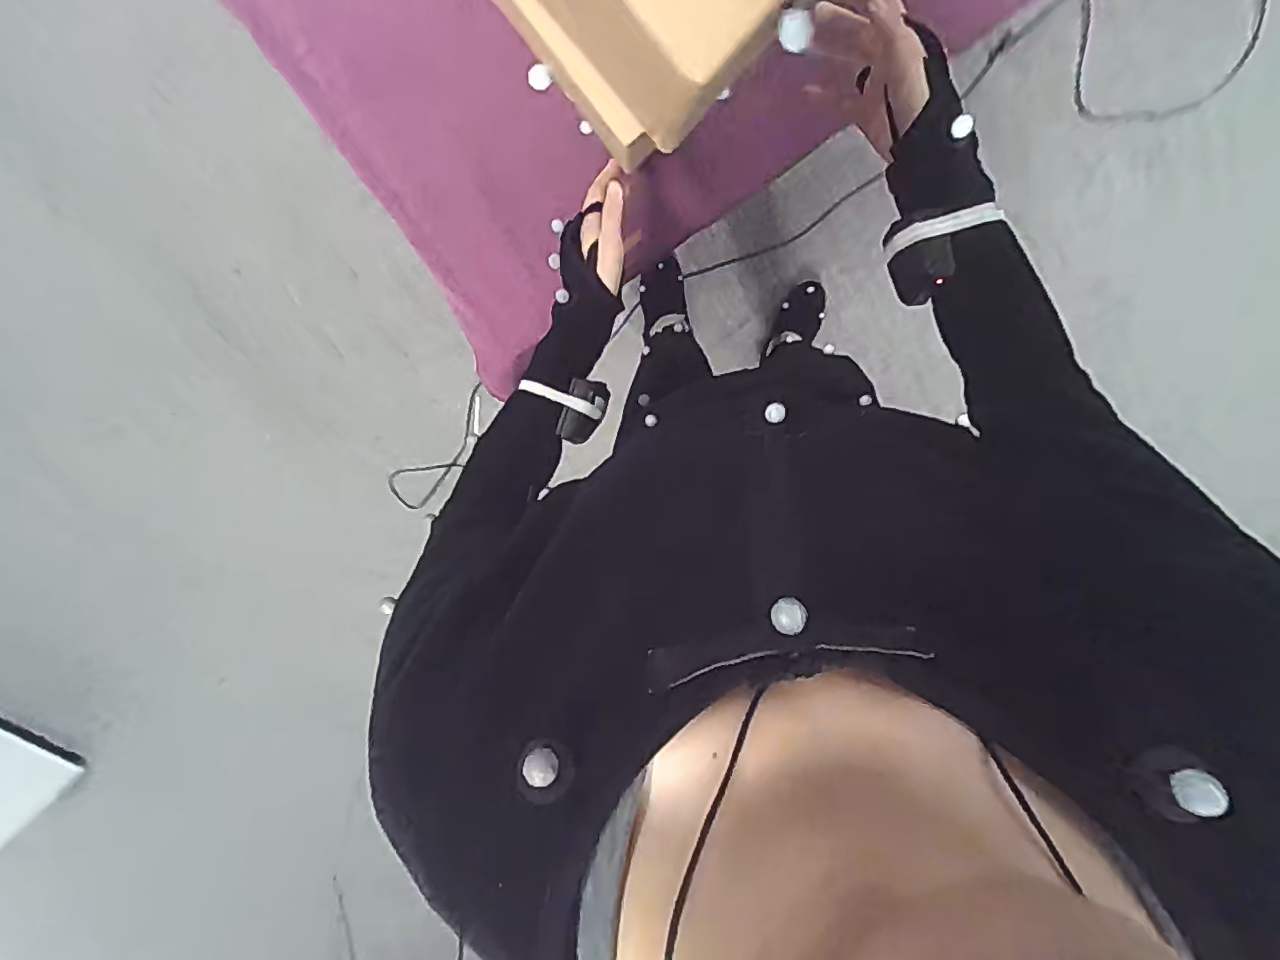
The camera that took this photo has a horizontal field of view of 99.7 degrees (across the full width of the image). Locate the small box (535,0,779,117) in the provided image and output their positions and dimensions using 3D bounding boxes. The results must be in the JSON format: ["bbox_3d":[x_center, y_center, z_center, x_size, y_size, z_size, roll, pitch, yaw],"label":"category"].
[{"bbox_3d":[0.007,-0.272,0.199,0.168,0.176,0.179,-42,108,18],"label":"small box"}]

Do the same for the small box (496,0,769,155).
[{"bbox_3d":[-0.004,-0.345,0.344,0.179,0.176,0.168,-38,110,17],"label":"small box"}]
